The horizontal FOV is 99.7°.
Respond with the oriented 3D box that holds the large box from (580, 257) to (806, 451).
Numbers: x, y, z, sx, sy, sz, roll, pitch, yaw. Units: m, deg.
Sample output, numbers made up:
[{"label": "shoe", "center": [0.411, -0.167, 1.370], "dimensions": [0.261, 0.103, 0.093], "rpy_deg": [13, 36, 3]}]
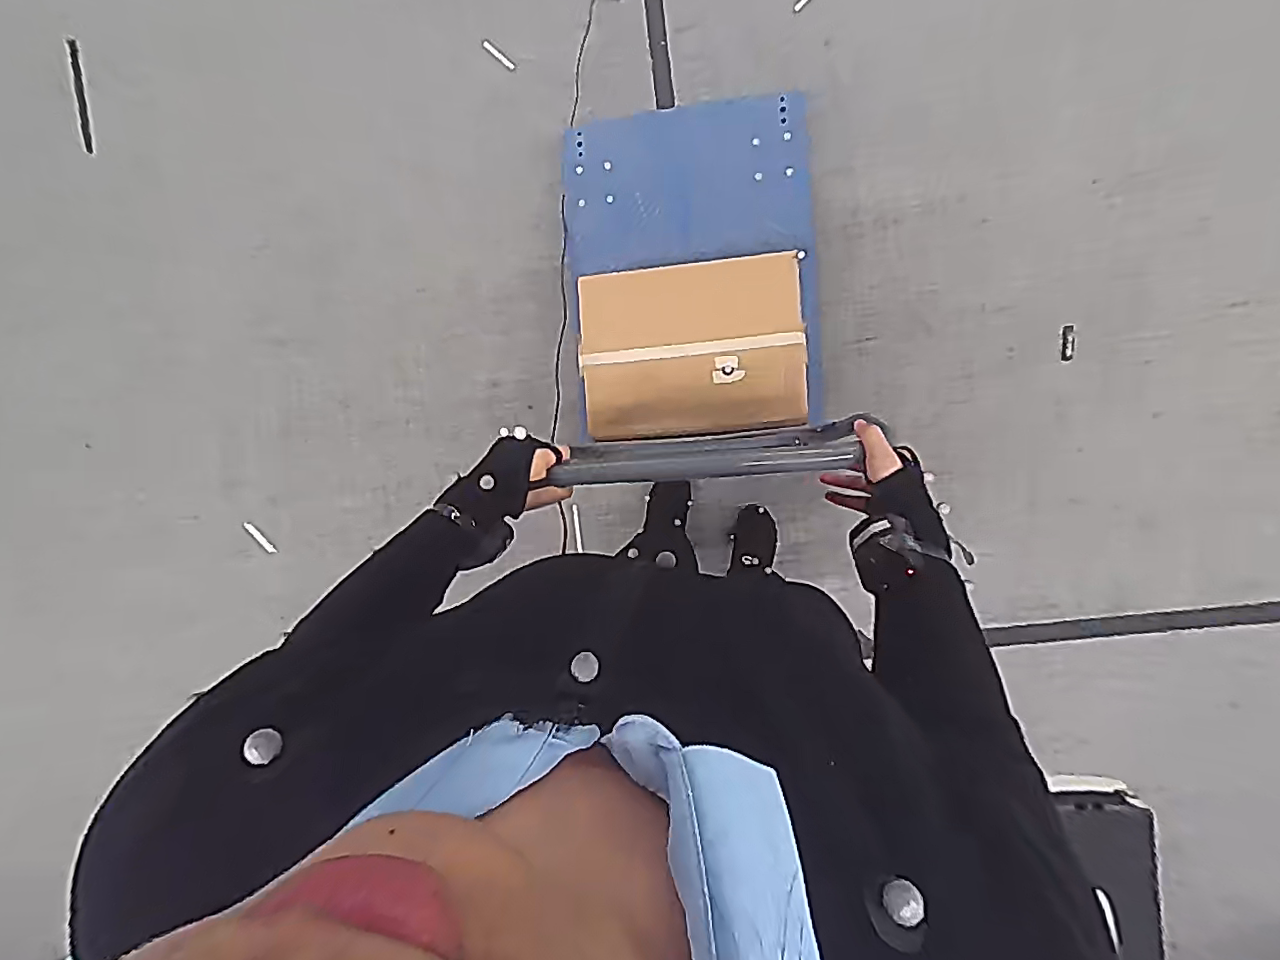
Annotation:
[{"label": "large box", "center": [0.111, -0.236, 1.147], "dimensions": [0.408, 0.320, 0.320], "rpy_deg": [-4, 92, 8]}]
